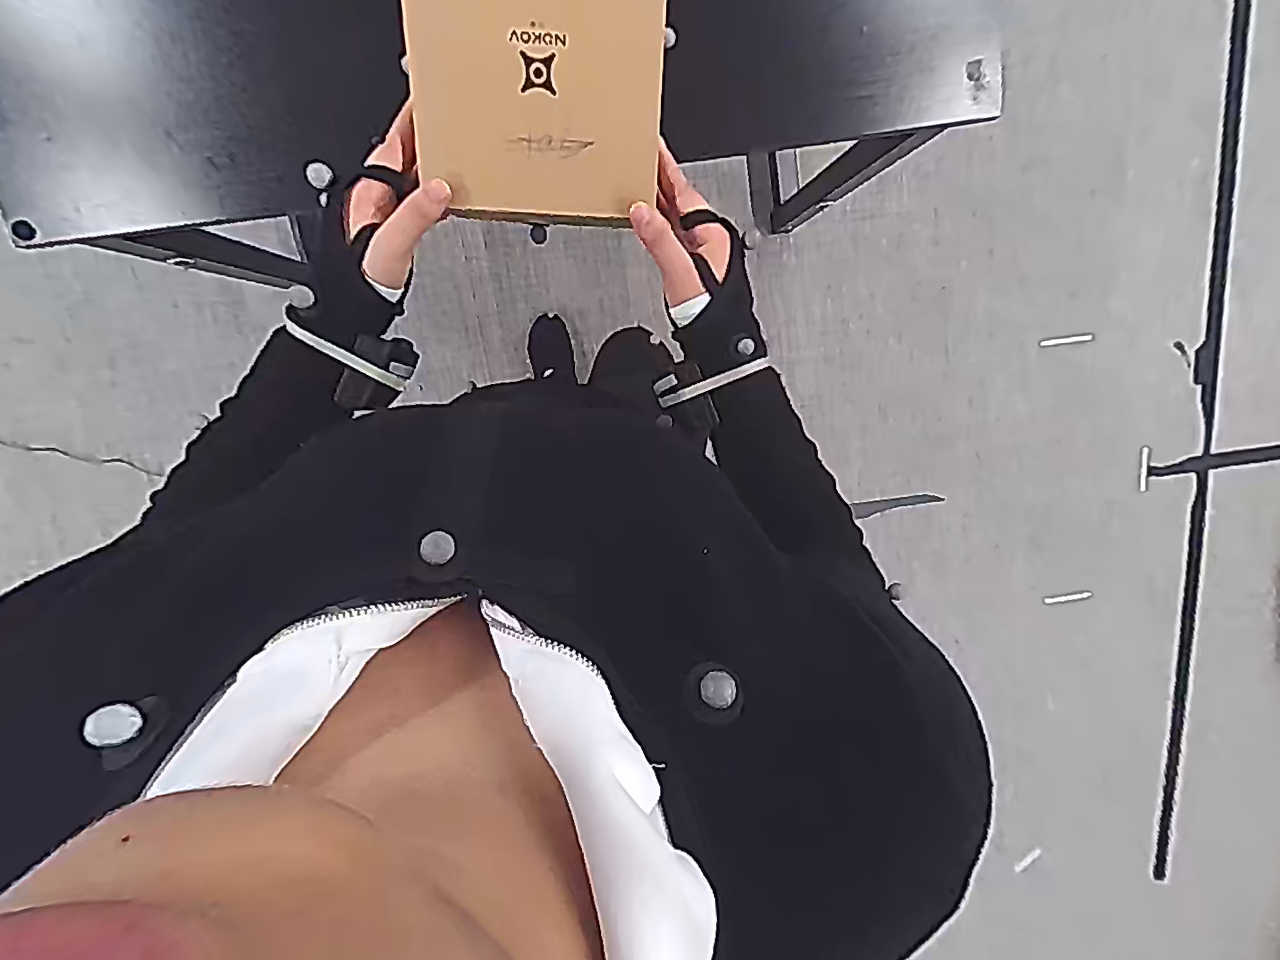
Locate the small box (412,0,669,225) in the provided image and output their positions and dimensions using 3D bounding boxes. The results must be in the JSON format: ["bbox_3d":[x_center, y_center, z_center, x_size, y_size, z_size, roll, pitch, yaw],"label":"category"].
[{"bbox_3d":[-0.072,-0.308,0.429,0.168,0.176,0.179,1,113,-6],"label":"small box"}]
